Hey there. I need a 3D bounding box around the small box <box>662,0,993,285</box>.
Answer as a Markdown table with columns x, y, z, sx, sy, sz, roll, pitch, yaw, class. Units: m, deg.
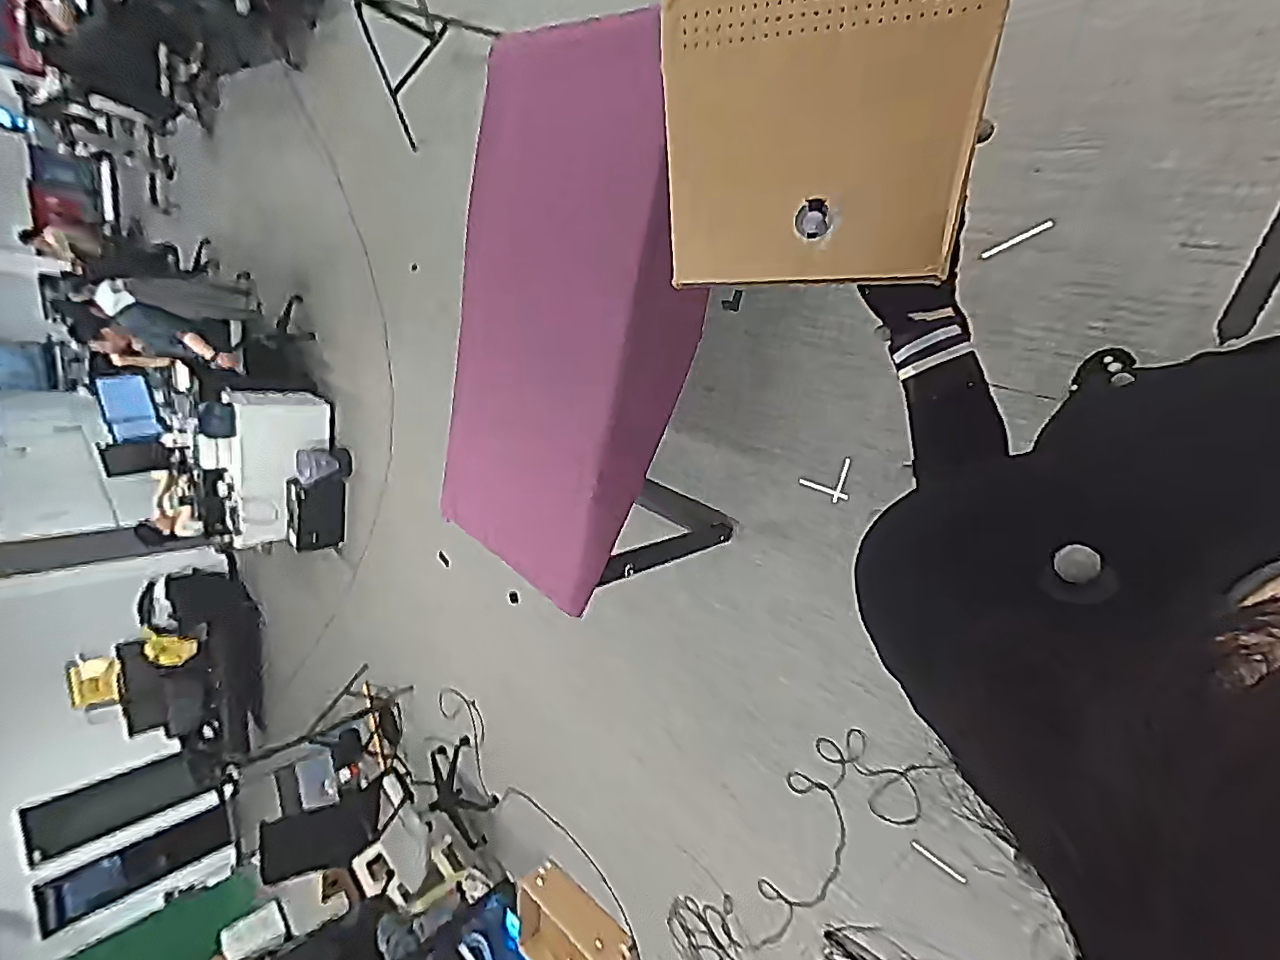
| x | y | z | sx | sy | sz | roll | pitch | yaw | class |
| --- | --- | --- | --- | --- | --- | --- | --- | --- | --- |
| 0.119 | -0.247 | 0.374 | 0.179 | 0.168 | 0.176 | 6 | 126 | 17 | small box |
